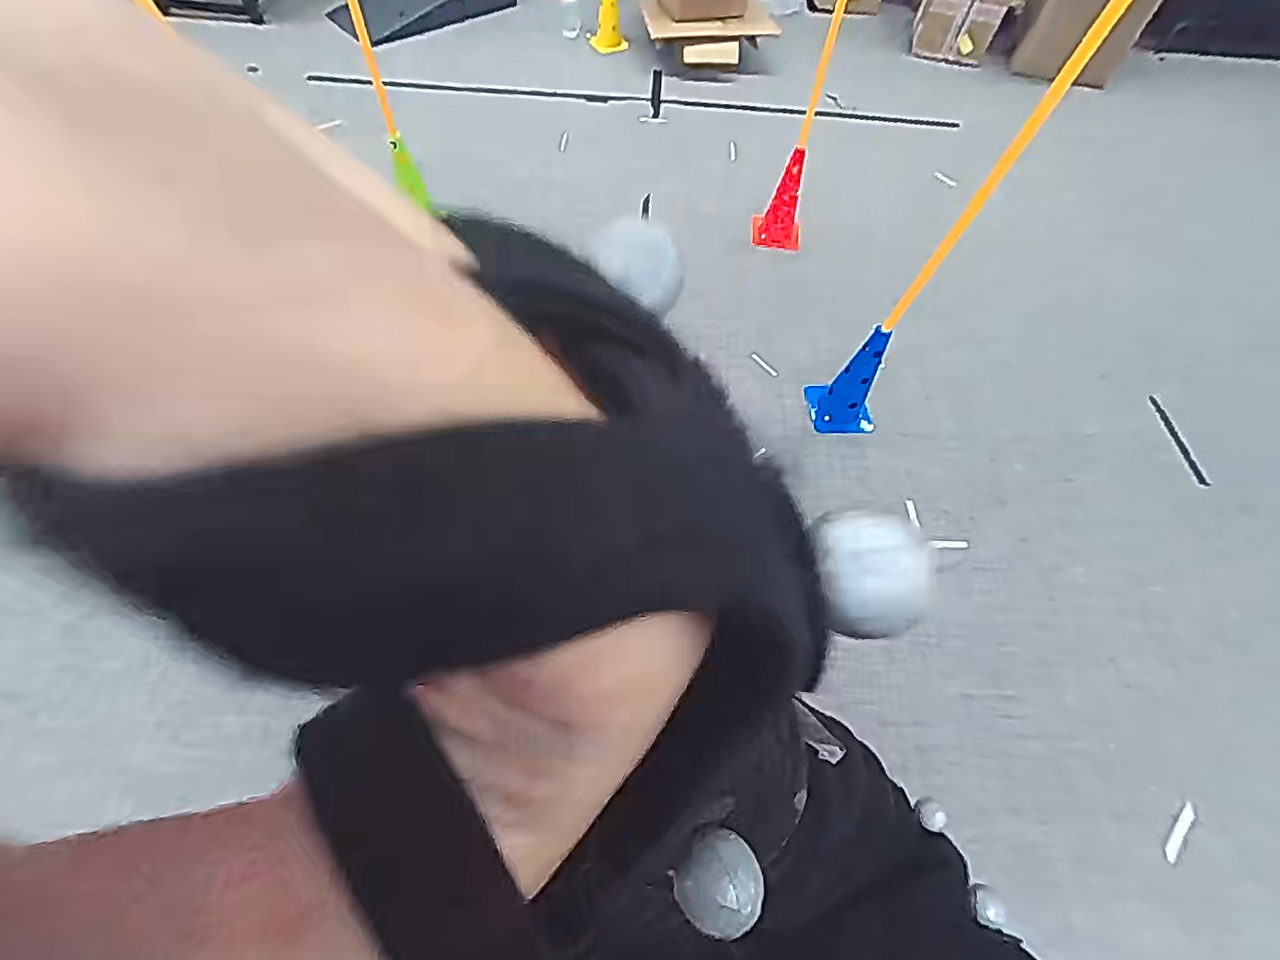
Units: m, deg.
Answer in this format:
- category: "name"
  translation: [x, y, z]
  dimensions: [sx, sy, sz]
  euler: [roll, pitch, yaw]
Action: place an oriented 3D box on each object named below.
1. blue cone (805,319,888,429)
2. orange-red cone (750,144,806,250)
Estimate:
- category: "blue cone"
  translation: [0.669, -0.332, 1.665]
  dimensions: [0.193, 0.380, 0.192]
  euler: [0, 58, -4]
- category: "orange-red cone"
  translation: [0.575, -1.121, 2.110]
  dimensions: [0.199, 0.360, 0.198]
  euler: [10, 60, 1]
